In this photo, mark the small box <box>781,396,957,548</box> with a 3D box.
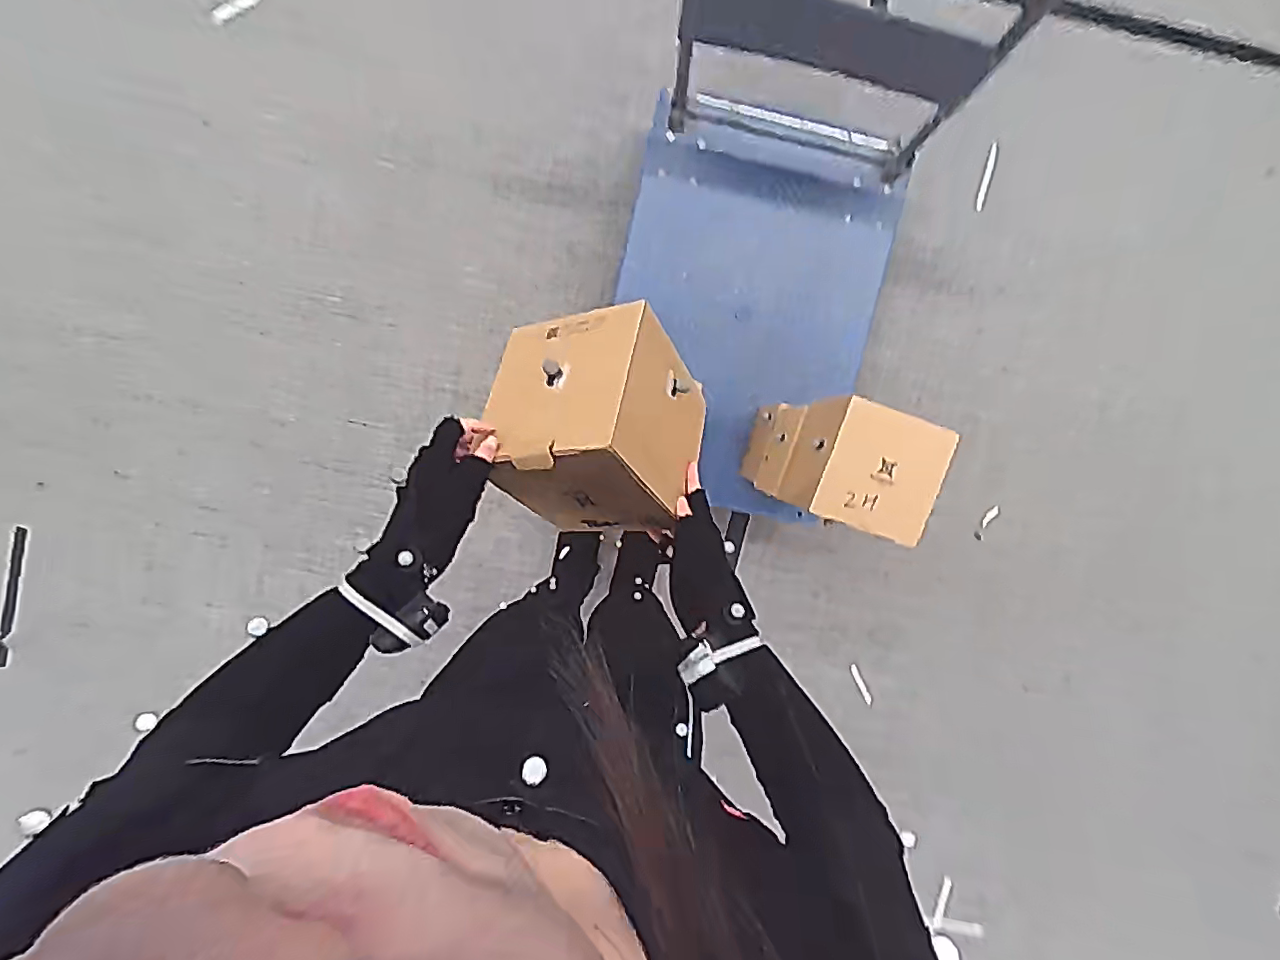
[{"bbox_3d":[0.339,-0.018,0.839,0.168,0.176,0.179,20,95,-3],"label":"small box"}]

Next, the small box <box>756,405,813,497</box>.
[{"bbox_3d":[0.334,-0.032,1.004,0.179,0.176,0.168,18,95,-4],"label":"small box"}]

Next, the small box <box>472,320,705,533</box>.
[{"bbox_3d":[-0.041,-0.052,0.581,0.168,0.179,0.176,-3,62,29],"label":"small box"}]
